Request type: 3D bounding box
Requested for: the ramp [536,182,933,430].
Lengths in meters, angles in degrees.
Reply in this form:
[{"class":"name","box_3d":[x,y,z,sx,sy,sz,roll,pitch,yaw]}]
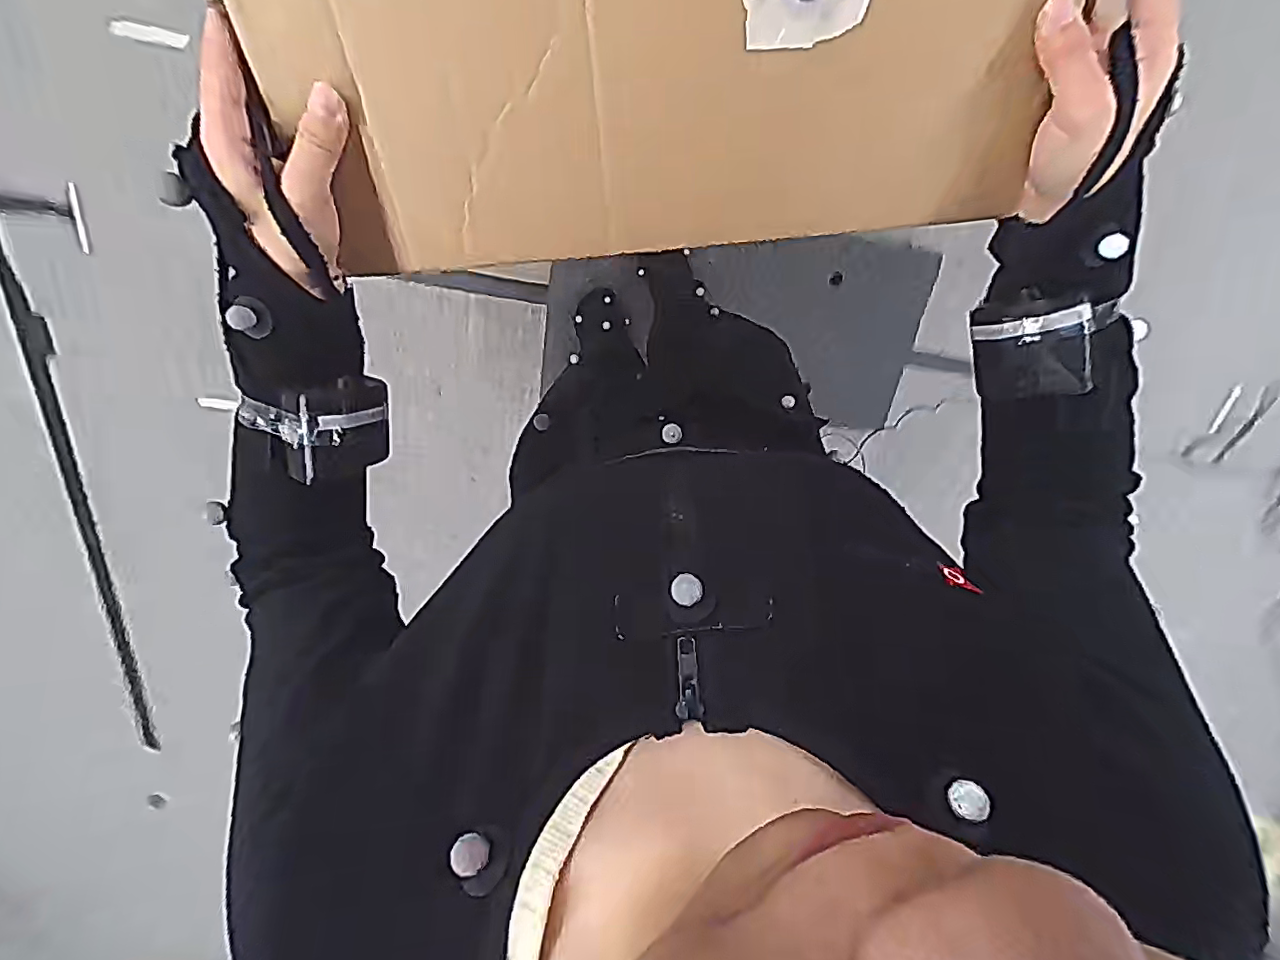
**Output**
[{"class":"ramp","box_3d":[0.256,-0.388,1.358,0.991,0.206,0.509,5,112,-7]}]
